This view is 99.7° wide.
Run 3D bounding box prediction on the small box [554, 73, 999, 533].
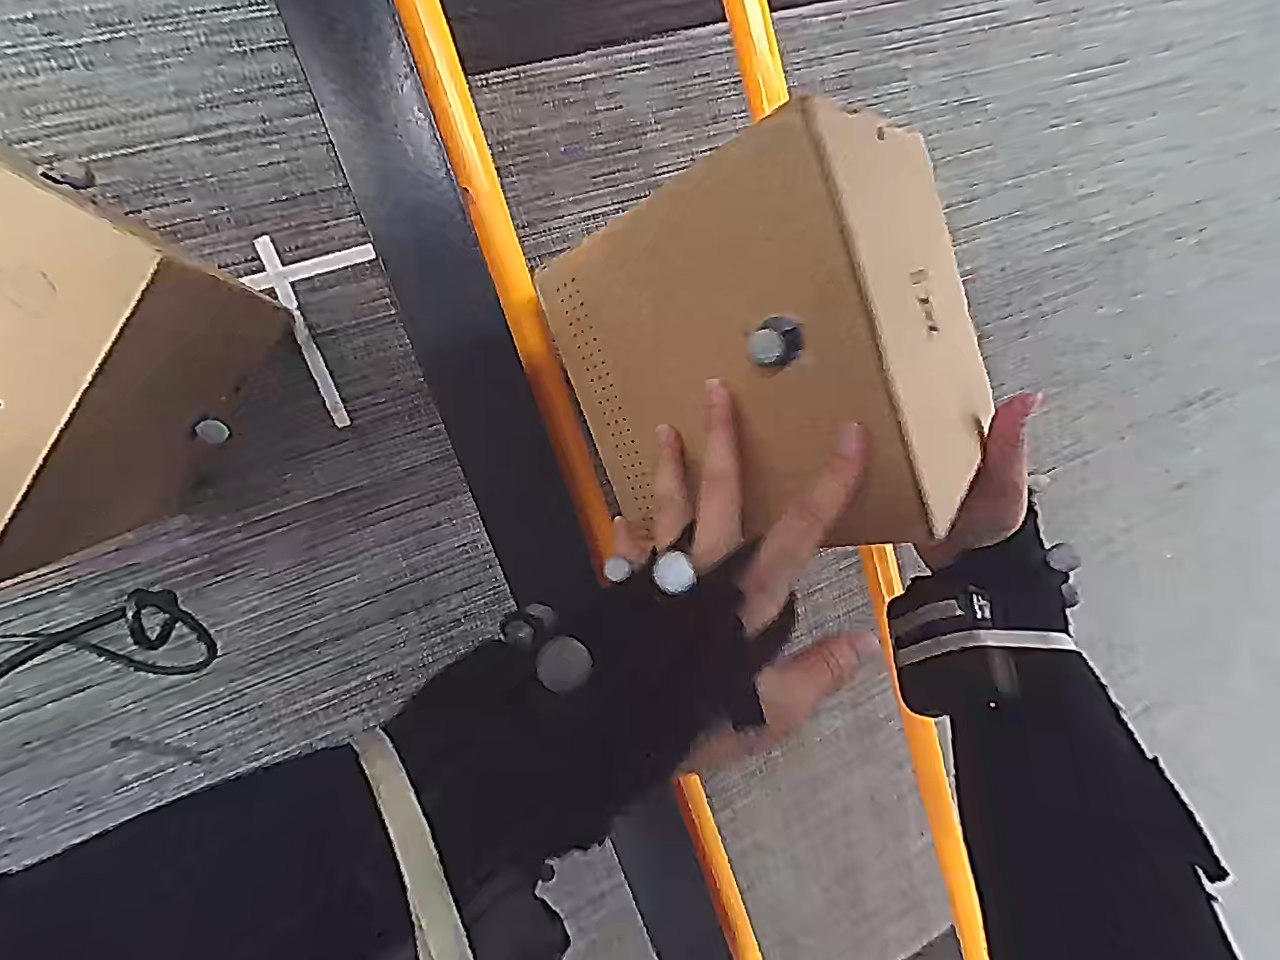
[{"bbox_3d":[0.082,-0.077,0.313,0.168,0.176,0.179,-31,103,-47],"label":"small box"}]
